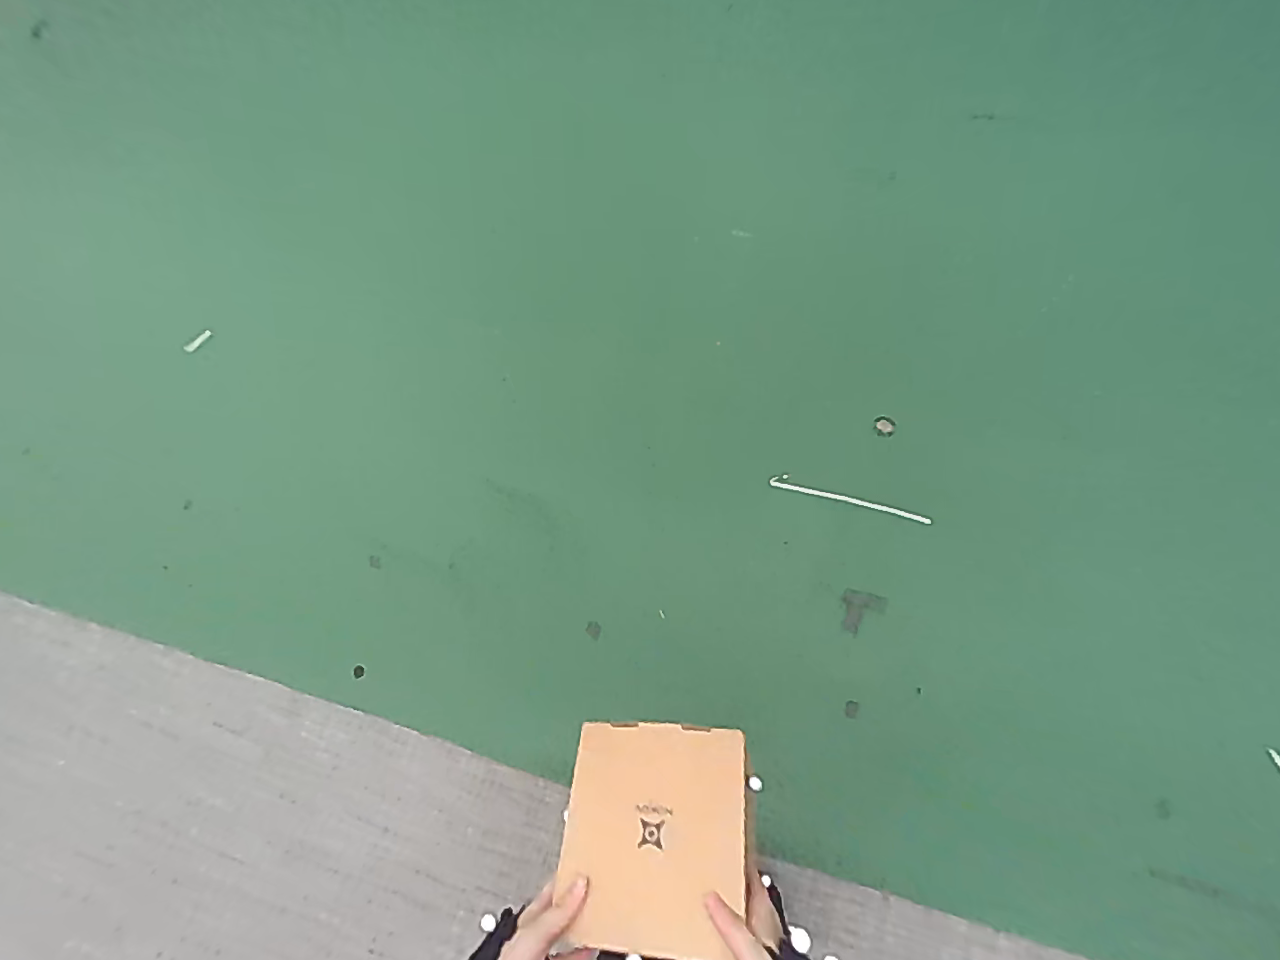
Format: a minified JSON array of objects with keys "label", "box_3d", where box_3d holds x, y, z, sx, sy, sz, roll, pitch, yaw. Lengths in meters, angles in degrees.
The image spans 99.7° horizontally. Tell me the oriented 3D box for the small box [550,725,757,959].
[{"label":"small box","box_3d":[0.028,0.368,0.545,0.168,0.176,0.179,-3,48,13]}]
